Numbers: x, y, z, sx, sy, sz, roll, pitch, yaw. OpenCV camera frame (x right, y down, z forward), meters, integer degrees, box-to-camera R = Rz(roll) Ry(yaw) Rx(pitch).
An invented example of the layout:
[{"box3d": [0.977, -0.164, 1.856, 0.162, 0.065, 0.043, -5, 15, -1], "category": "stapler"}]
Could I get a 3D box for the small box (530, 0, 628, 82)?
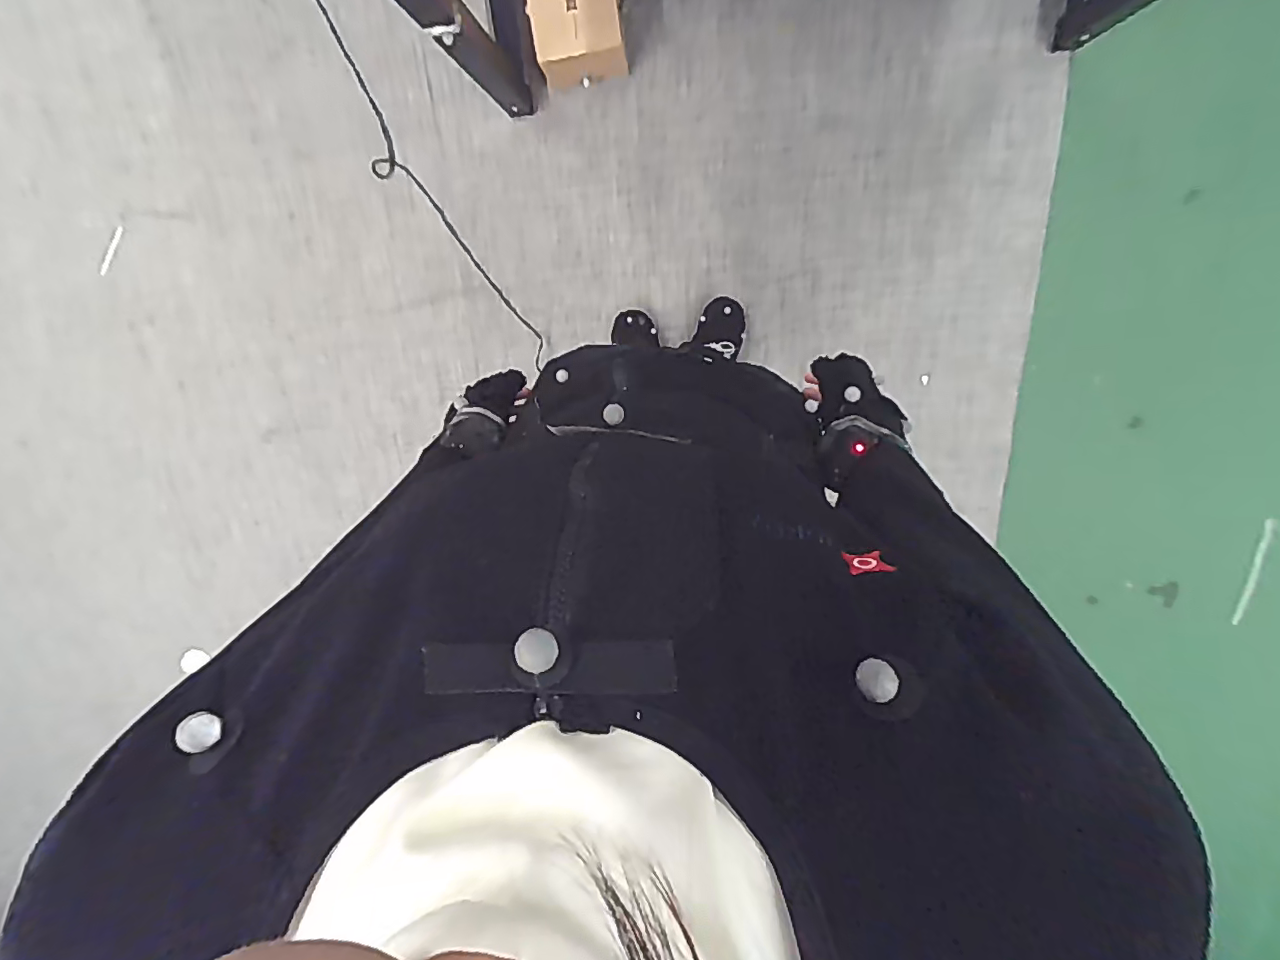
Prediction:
[{"box3d": [-0.119, -0.920, 1.056, 0.168, 0.176, 0.179, -6, 110, 6], "category": "small box"}]
